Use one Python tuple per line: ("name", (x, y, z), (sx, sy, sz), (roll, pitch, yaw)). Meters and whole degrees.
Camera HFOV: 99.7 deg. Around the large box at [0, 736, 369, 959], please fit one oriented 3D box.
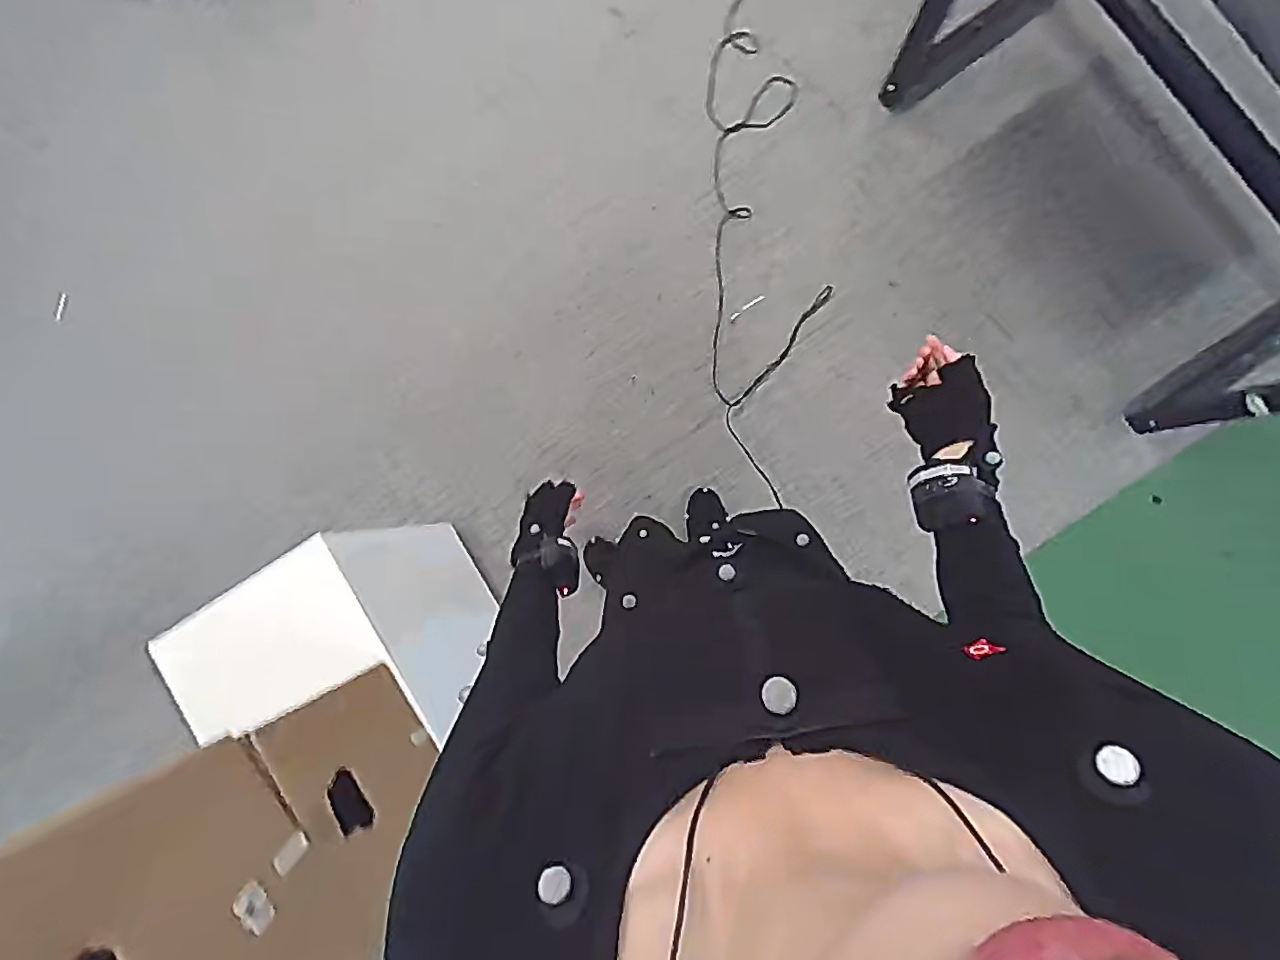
("large box", (-0.560, 0.532, 0.492), (0.408, 0.320, 0.320), (-38, 85, 3))
